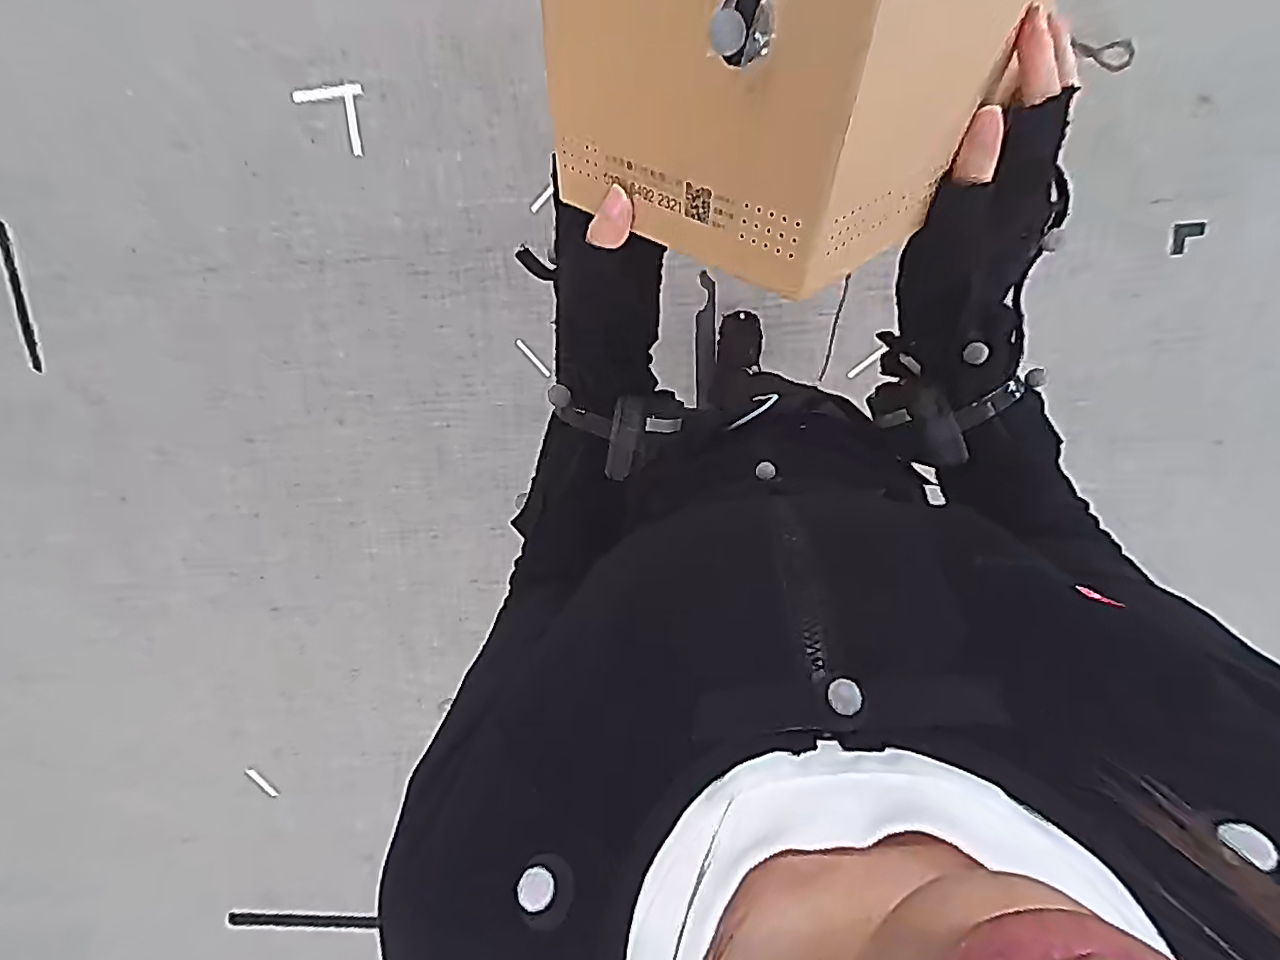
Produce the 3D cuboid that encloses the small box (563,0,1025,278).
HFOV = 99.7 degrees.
[{"bbox_3d":[0.076,-0.225,0.269,0.168,0.179,0.176,37,147,29],"label":"small box"}]
